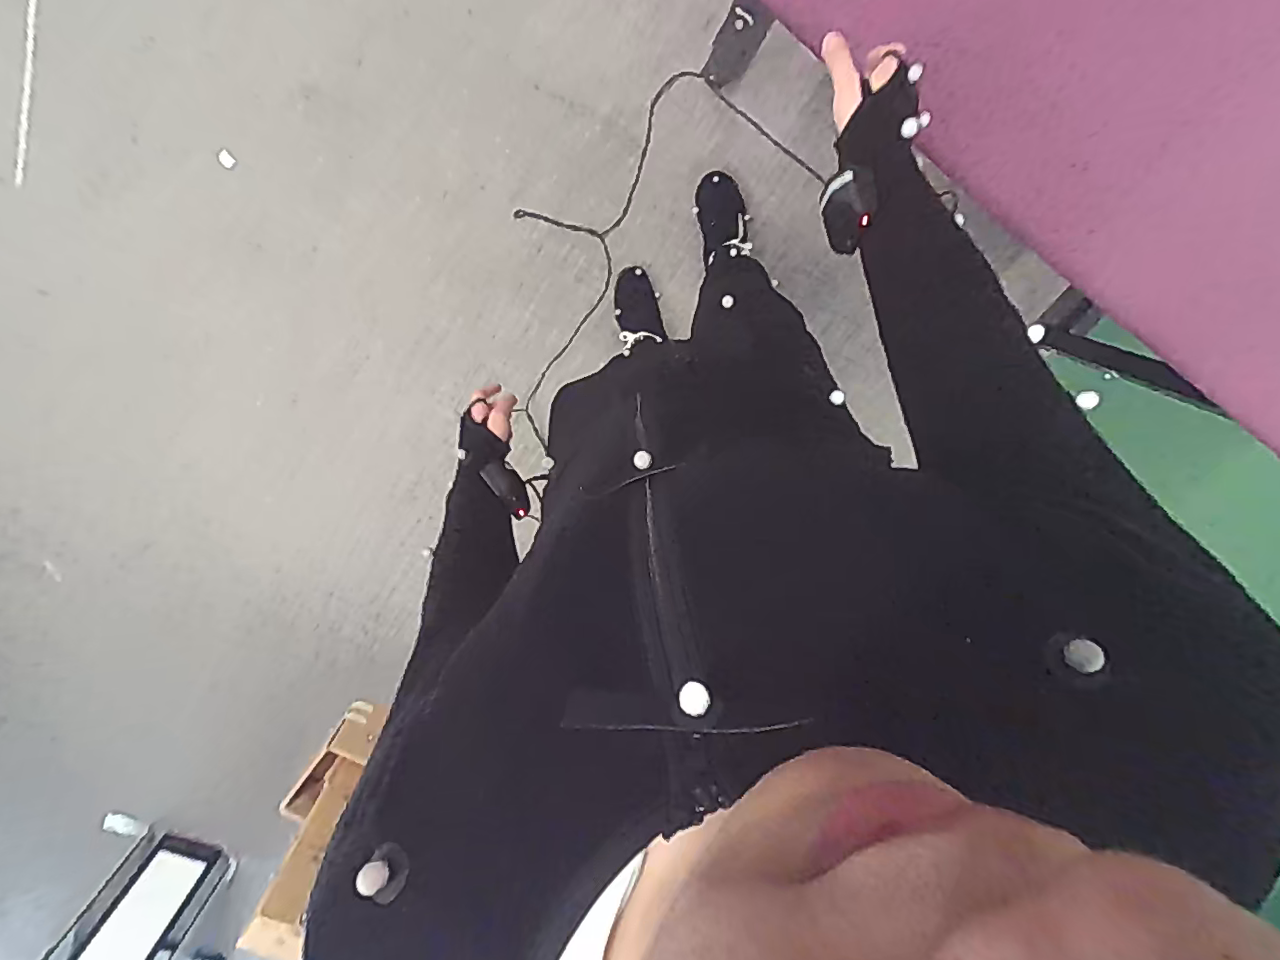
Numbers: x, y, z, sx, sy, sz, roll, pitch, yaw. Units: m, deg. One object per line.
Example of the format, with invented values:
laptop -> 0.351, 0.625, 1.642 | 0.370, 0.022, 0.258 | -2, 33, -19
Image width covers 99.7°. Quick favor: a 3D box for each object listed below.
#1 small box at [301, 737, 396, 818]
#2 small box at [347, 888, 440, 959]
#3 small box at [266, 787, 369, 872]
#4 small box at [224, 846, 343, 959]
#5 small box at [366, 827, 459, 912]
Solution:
small box -> -0.885, 0.934, 1.659 | 0.168, 0.176, 0.179 | 37, 111, -16
small box -> -0.661, 1.239, 1.442 | 0.168, 0.176, 0.179 | 33, 113, -16
small box -> -0.890, 1.000, 1.508 | 0.168, 0.176, 0.179 | 33, 113, -14
small box -> -0.888, 1.070, 1.360 | 0.168, 0.176, 0.179 | 33, 113, -15
small box -> -0.659, 1.167, 1.588 | 0.168, 0.176, 0.179 | 33, 113, -15
